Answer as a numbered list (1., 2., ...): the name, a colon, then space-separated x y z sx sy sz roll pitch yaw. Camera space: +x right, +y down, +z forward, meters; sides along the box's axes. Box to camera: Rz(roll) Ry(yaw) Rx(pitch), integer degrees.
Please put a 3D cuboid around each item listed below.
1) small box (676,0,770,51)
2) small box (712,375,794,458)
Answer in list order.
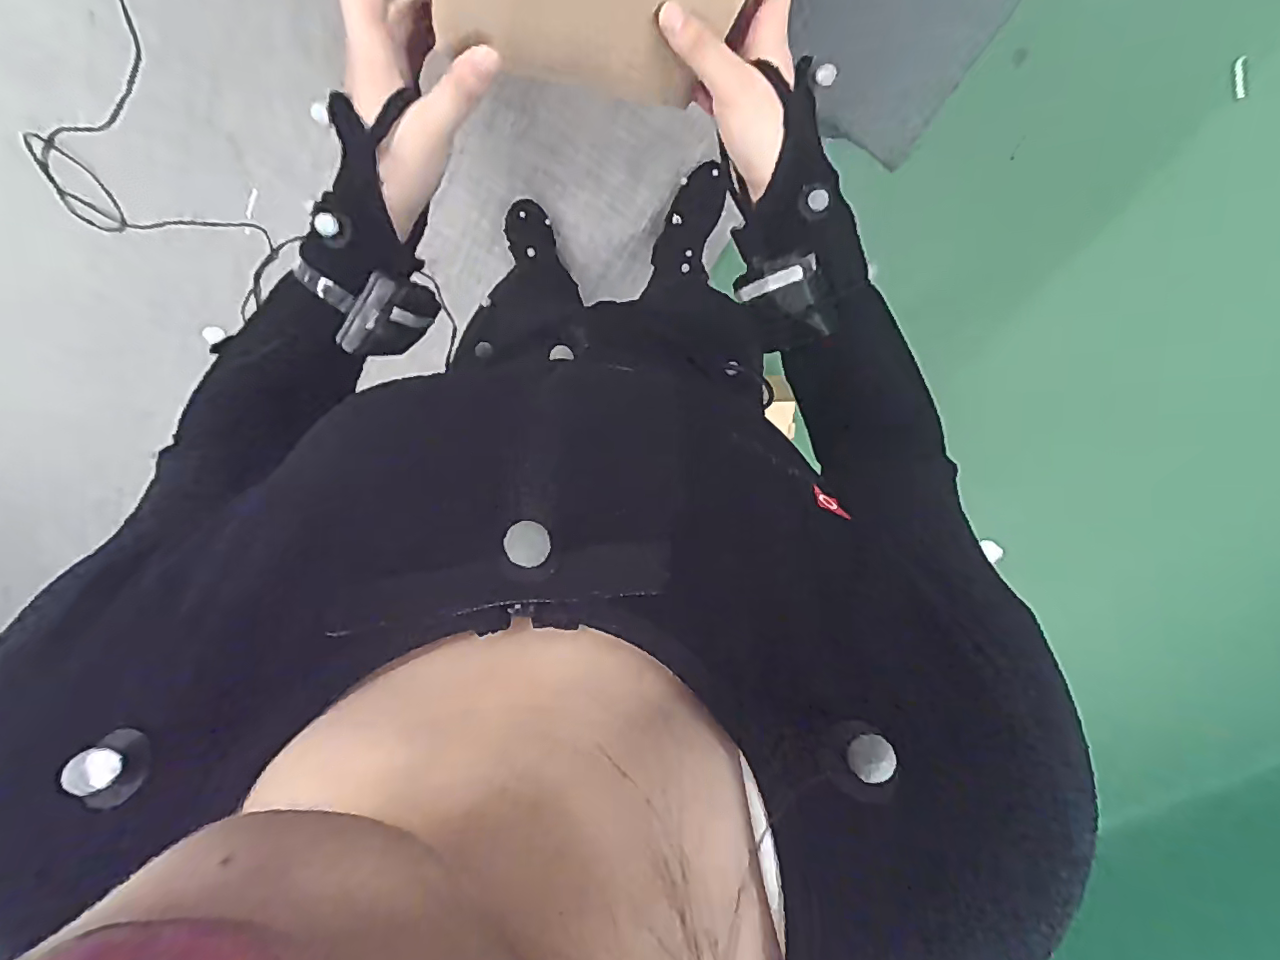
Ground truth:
1. small box: 0.150 -0.894 0.943 0.179 0.176 0.168 38 118 -22
2. small box: 0.289 -0.170 1.420 0.179 0.176 0.168 0 123 2
